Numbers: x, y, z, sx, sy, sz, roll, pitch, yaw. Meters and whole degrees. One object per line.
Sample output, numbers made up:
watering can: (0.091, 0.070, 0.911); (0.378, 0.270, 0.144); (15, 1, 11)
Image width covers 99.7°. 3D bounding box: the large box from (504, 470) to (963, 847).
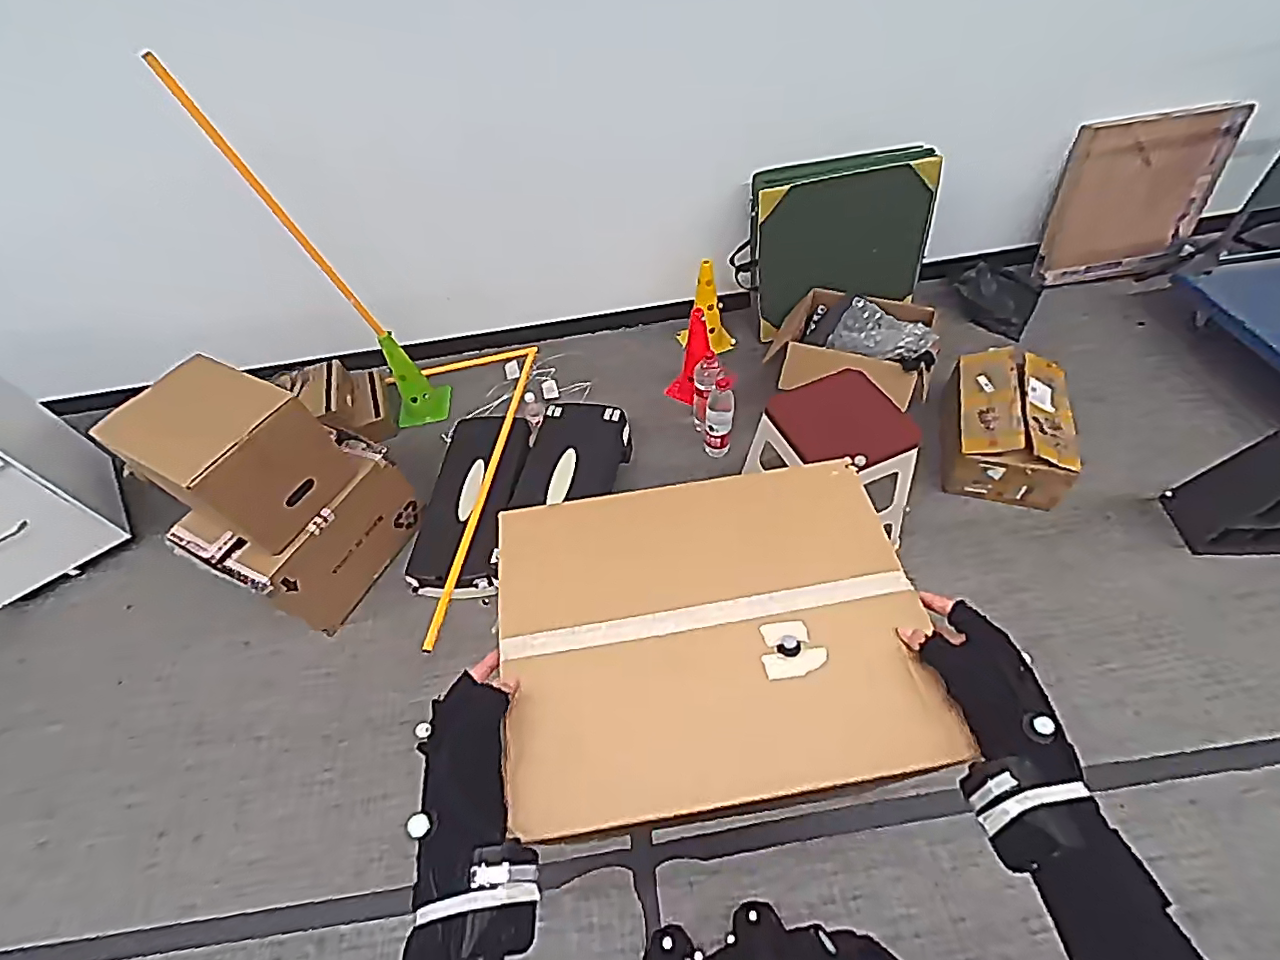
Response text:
large box: (0.070, 0.227, 0.662); (0.408, 0.320, 0.320); (-9, 56, -3)
